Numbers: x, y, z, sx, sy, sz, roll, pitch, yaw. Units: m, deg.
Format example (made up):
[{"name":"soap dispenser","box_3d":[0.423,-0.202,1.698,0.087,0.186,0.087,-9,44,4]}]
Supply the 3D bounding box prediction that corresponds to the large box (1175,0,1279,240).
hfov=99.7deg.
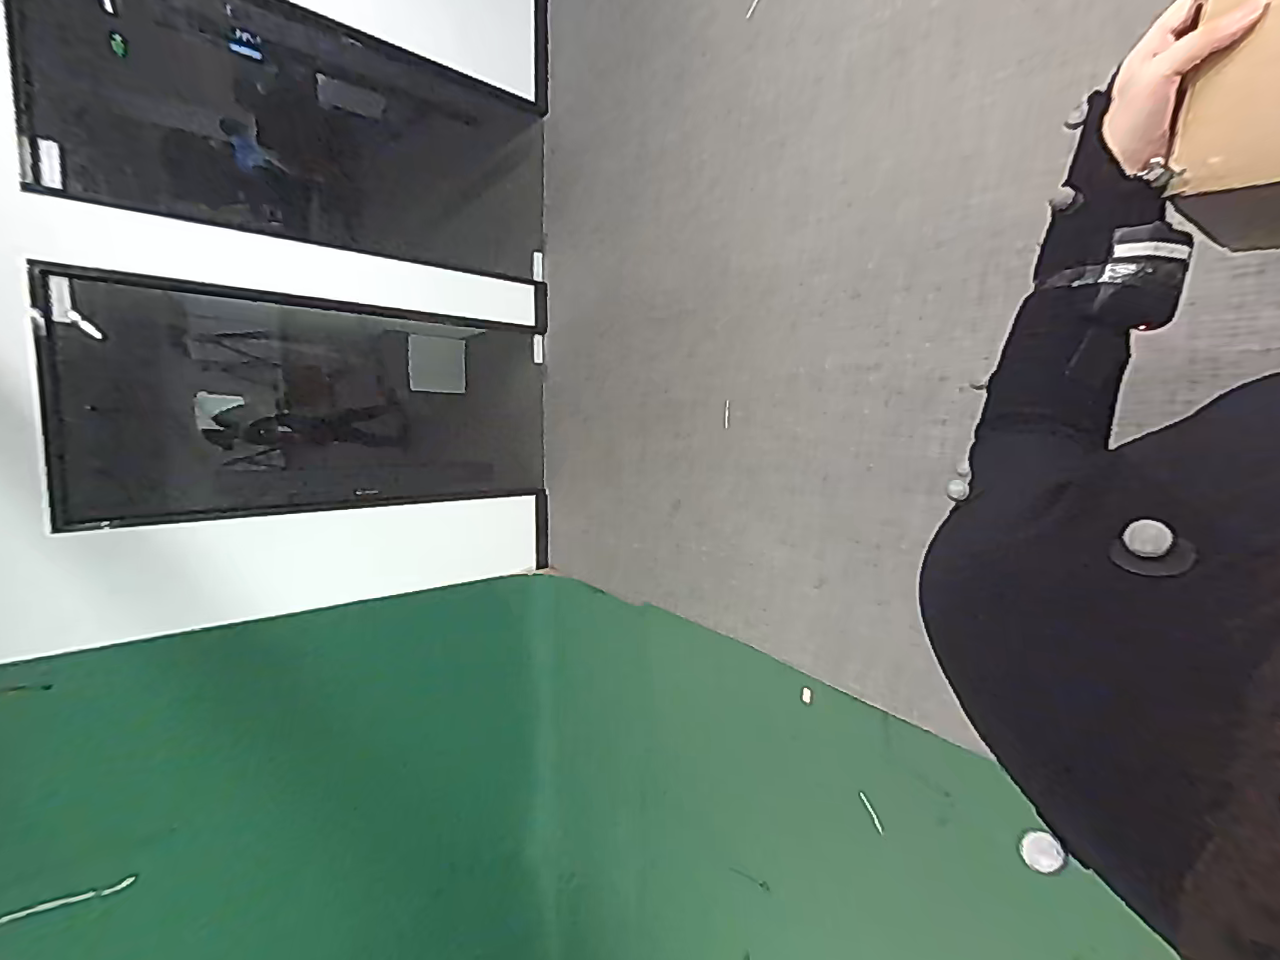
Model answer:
[{"name":"large box","box_3d":[0.632,-0.340,0.293,0.408,0.320,0.320,18,111,52]}]
